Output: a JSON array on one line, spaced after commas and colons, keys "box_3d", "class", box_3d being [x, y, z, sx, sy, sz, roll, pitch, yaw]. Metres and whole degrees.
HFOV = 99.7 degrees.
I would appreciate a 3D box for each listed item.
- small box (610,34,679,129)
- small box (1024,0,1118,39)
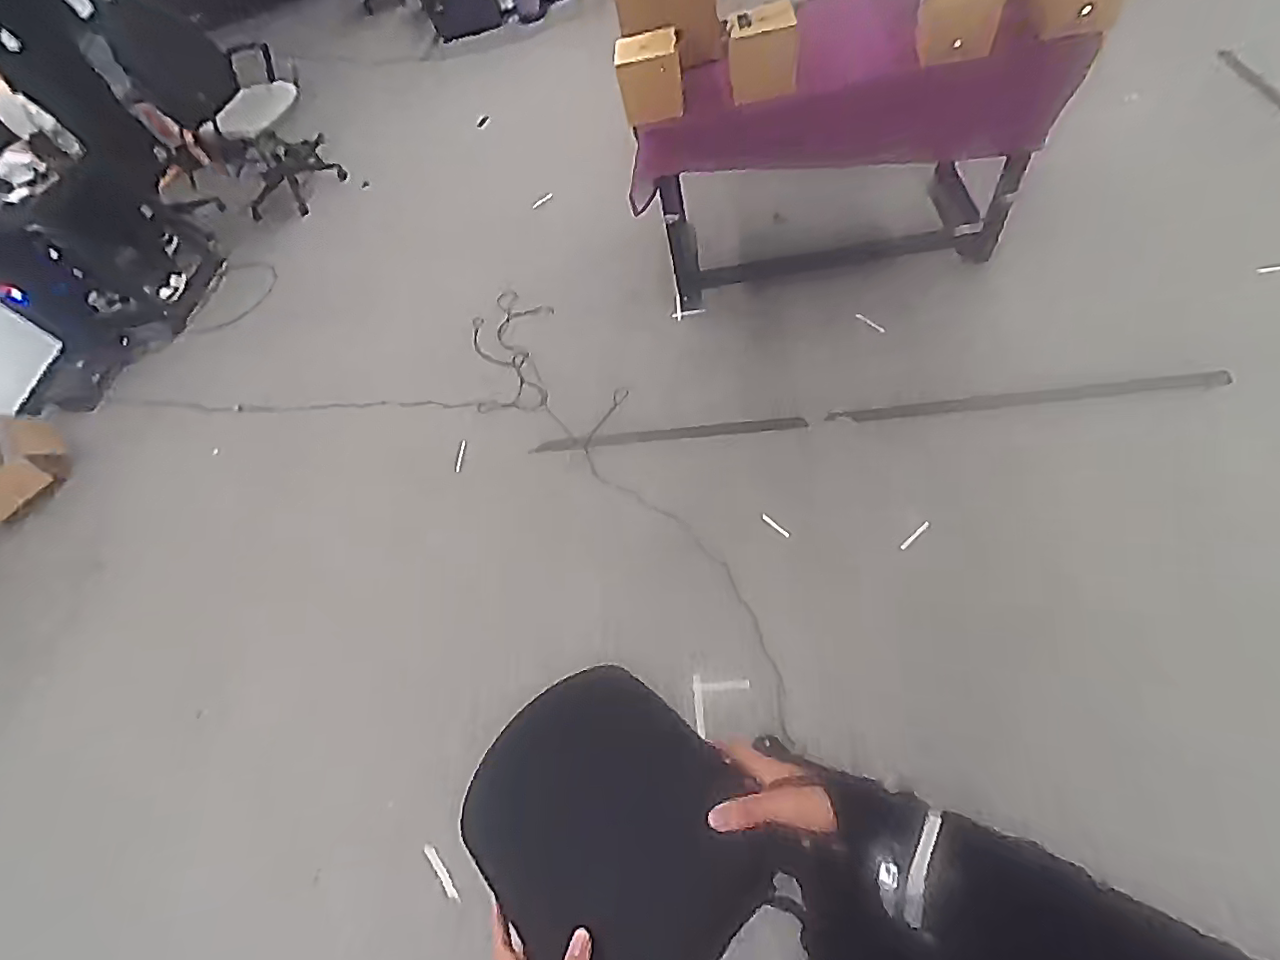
[{"box_3d": [0.018, -1.180, 1.611, 0.179, 0.176, 0.168, -5, 58, 10], "class": "small box"}, {"box_3d": [1.117, -1.275, 1.383, 0.168, 0.176, 0.179, -1, 59, 15], "class": "small box"}]
